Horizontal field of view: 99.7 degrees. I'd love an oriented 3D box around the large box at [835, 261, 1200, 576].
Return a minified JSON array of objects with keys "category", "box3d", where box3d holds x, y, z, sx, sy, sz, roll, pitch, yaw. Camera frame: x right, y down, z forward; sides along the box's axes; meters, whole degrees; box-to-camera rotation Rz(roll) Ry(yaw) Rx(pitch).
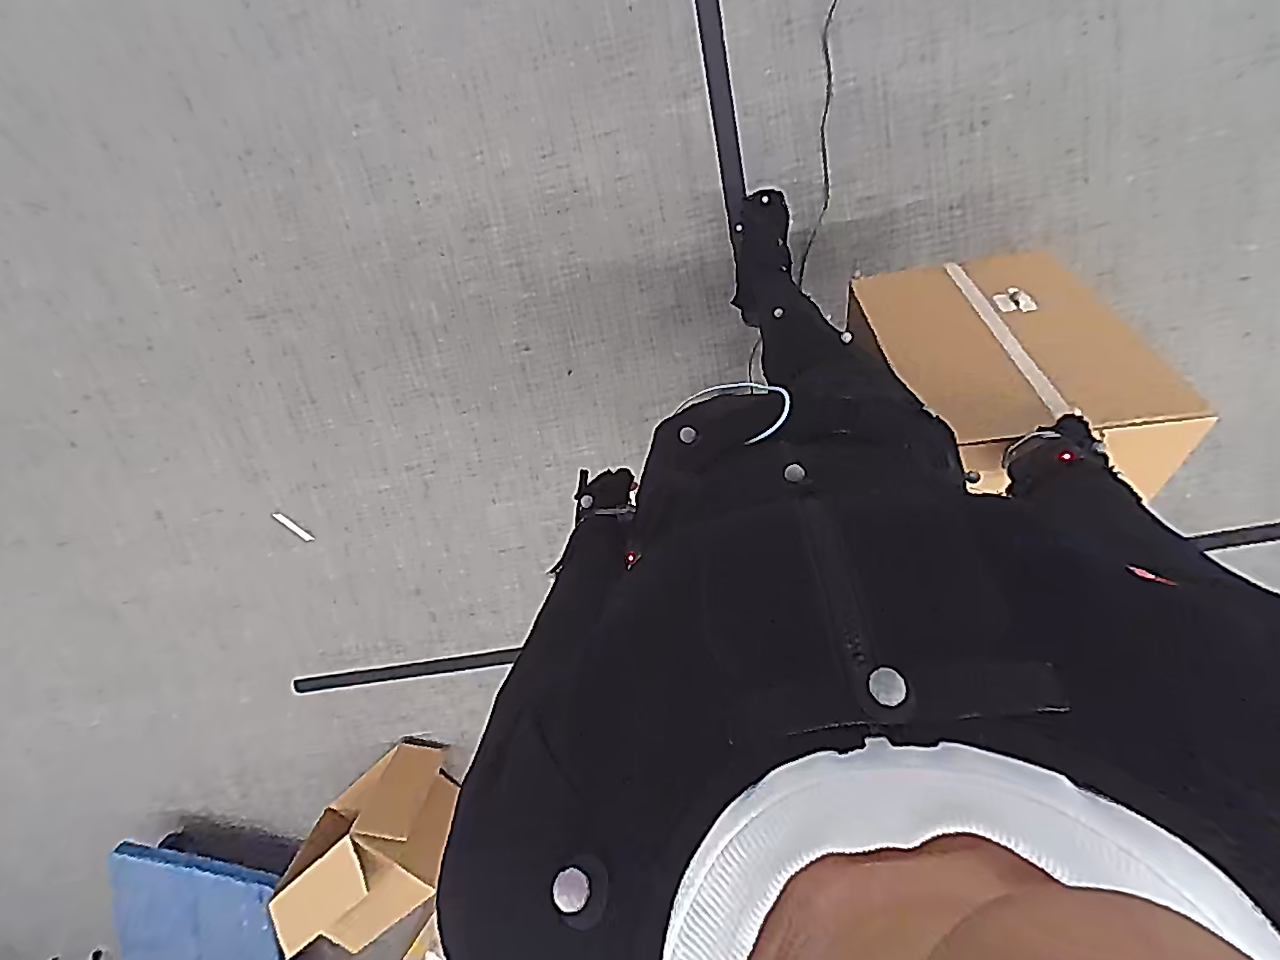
[{"category":"large box","box3d":[0.536,-0.102,0.893,0.320,0.408,0.320,-6,137,7]}]
